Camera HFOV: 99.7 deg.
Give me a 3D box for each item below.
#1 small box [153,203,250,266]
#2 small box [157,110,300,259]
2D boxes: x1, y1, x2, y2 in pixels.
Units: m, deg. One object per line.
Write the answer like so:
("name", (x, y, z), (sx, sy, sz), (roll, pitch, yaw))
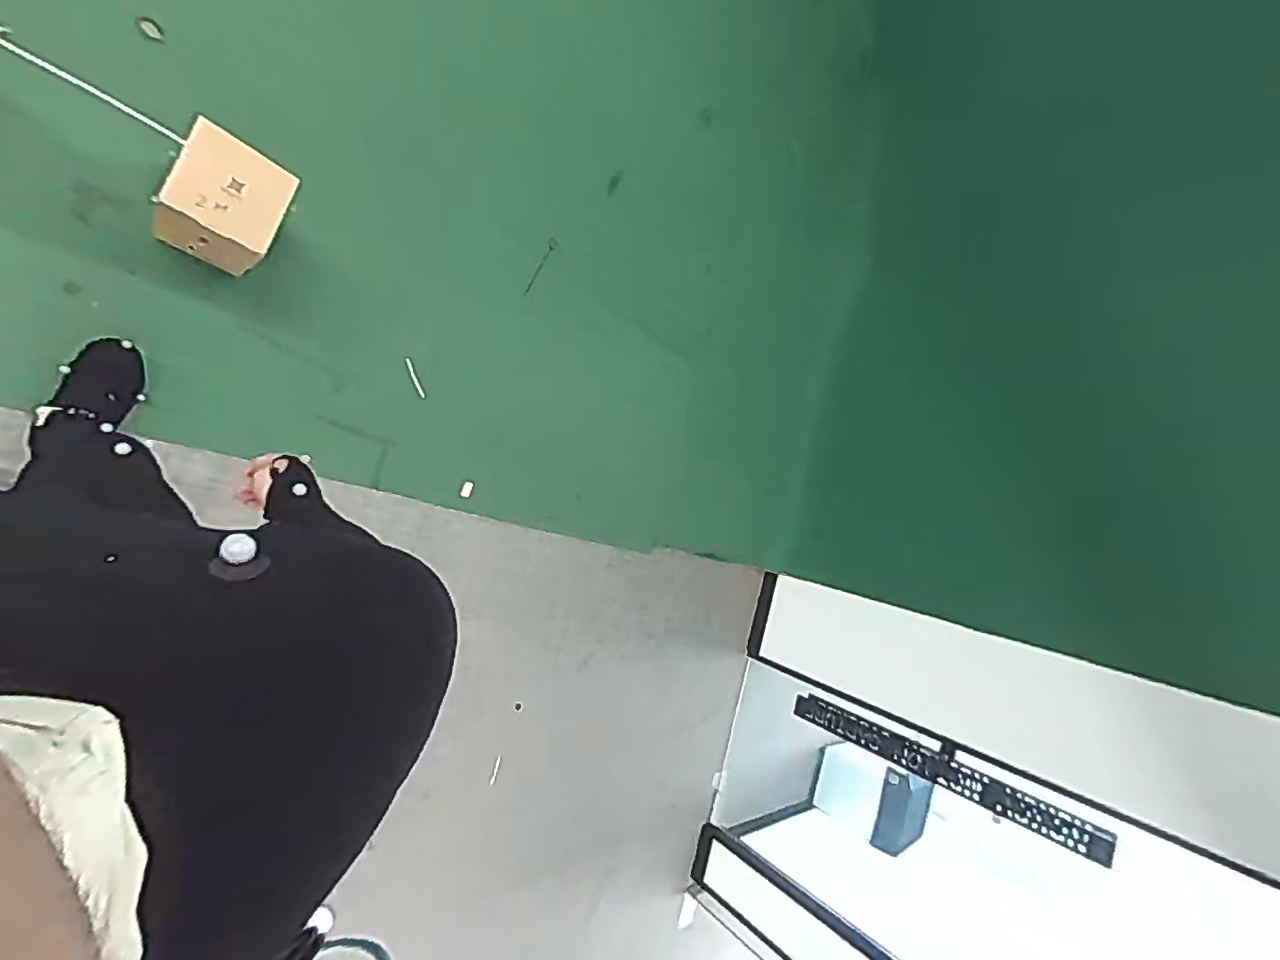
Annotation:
("small box", (-0.914, -0.588, 1.163), (0.168, 0.176, 0.179), (24, 83, -44))
("small box", (-0.801, -0.558, 1.047), (0.168, 0.176, 0.179), (27, 80, -43))
